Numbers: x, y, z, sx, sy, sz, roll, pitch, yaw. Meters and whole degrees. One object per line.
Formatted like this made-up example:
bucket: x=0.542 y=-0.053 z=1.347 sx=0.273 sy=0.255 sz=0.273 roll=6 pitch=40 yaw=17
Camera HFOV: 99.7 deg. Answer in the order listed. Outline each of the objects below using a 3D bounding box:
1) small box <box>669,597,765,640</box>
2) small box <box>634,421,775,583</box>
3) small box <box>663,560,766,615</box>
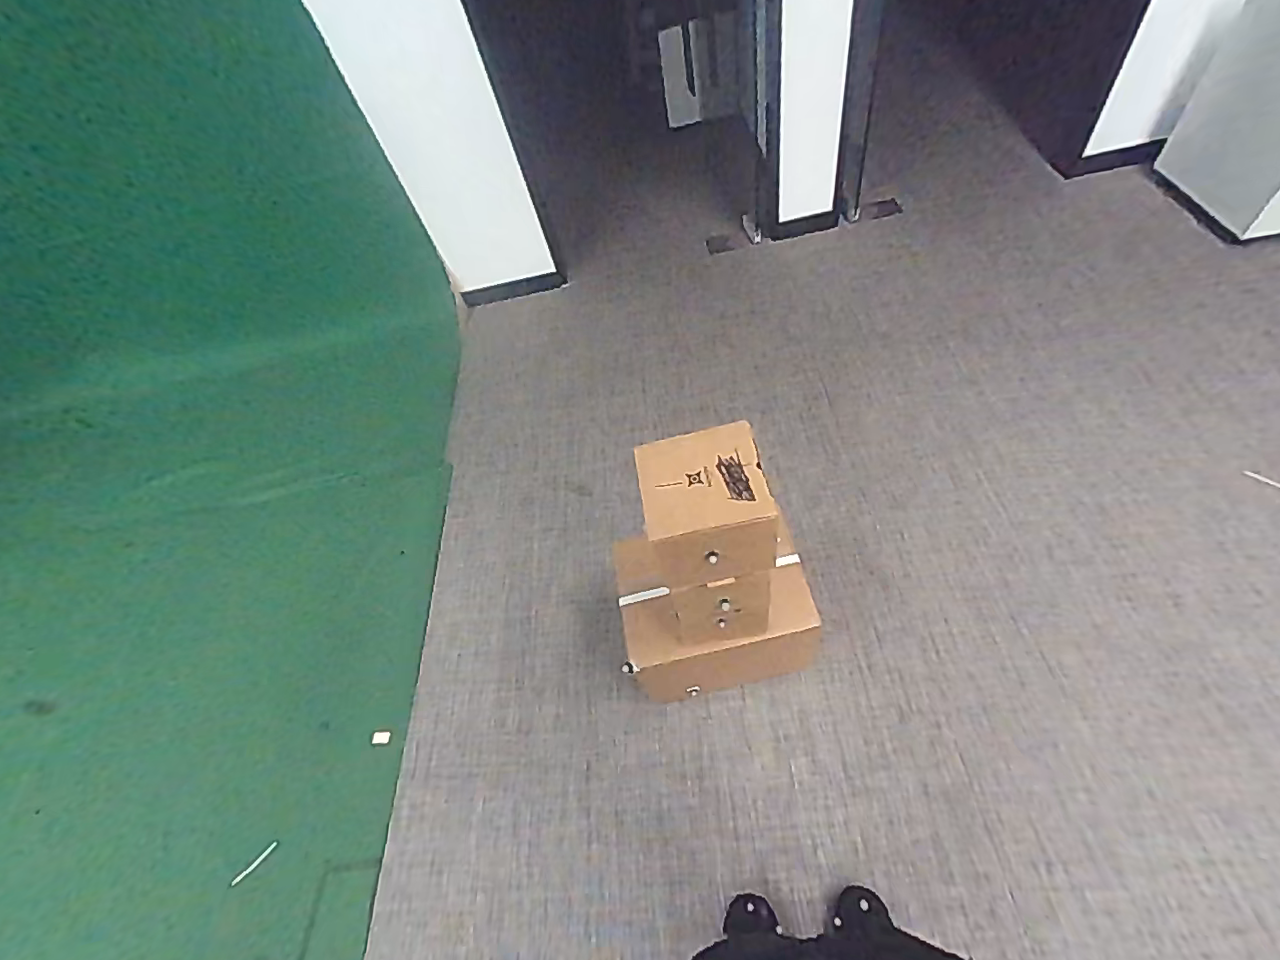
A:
small box: x=0.149 y=0.212 z=1.094 sx=0.179 sy=0.176 sz=0.168 roll=-11 pitch=56 yaw=4
small box: x=0.098 y=0.039 z=0.819 sx=0.179 sy=0.176 sz=0.168 roll=-12 pitch=55 yaw=6
small box: x=0.123 y=0.127 z=0.957 sx=0.168 sy=0.176 sz=0.179 roll=-13 pitch=56 yaw=4
